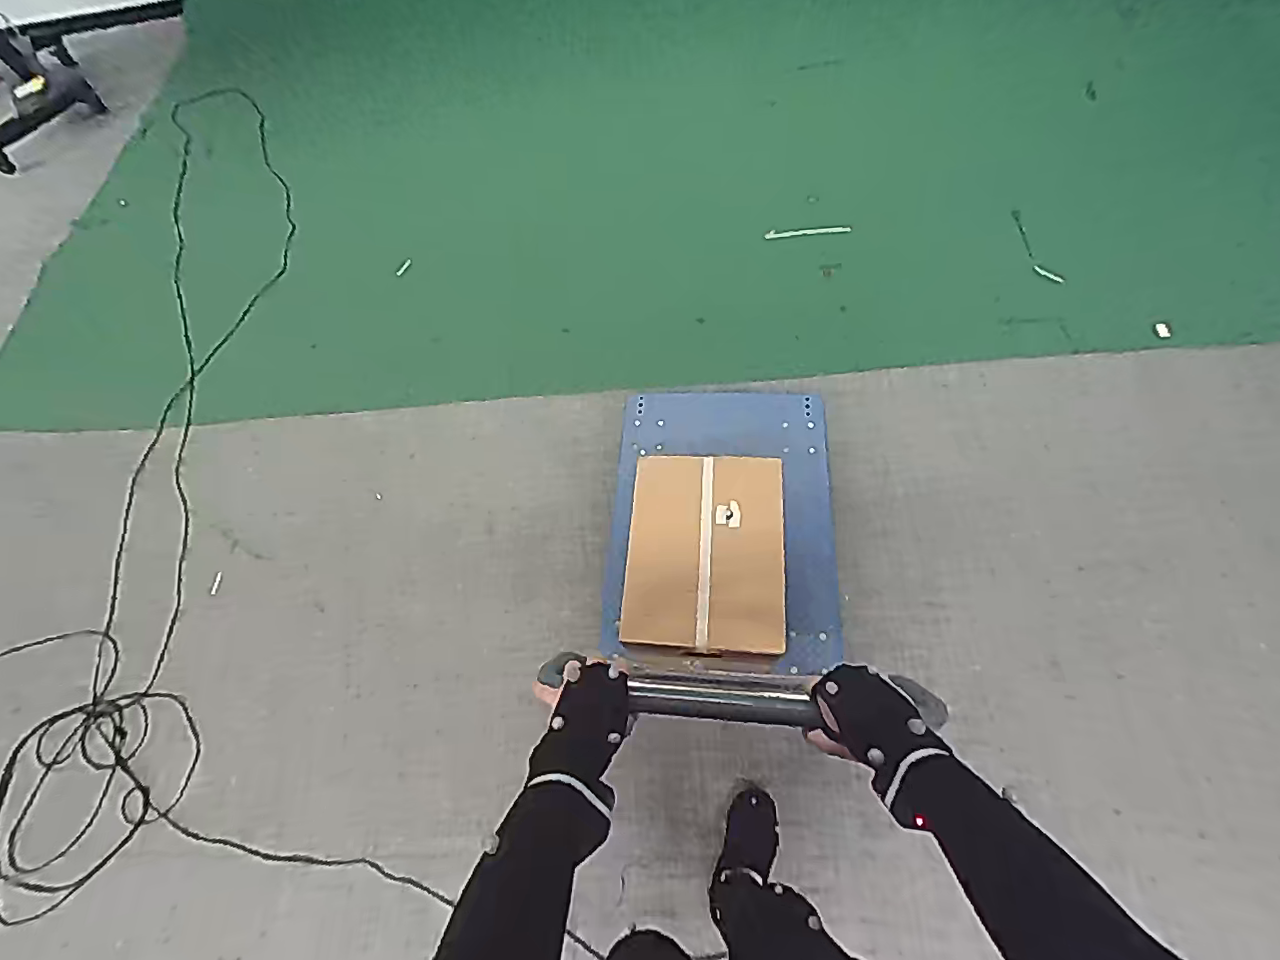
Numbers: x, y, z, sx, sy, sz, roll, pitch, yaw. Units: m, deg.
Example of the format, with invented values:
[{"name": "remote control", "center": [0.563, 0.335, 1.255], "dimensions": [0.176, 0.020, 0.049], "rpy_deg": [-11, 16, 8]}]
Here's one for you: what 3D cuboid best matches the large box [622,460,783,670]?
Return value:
[{"name": "large box", "center": [0.148, 0.204, 1.247], "dimensions": [0.320, 0.320, 0.408], "rpy_deg": [2, 64, 8]}]
